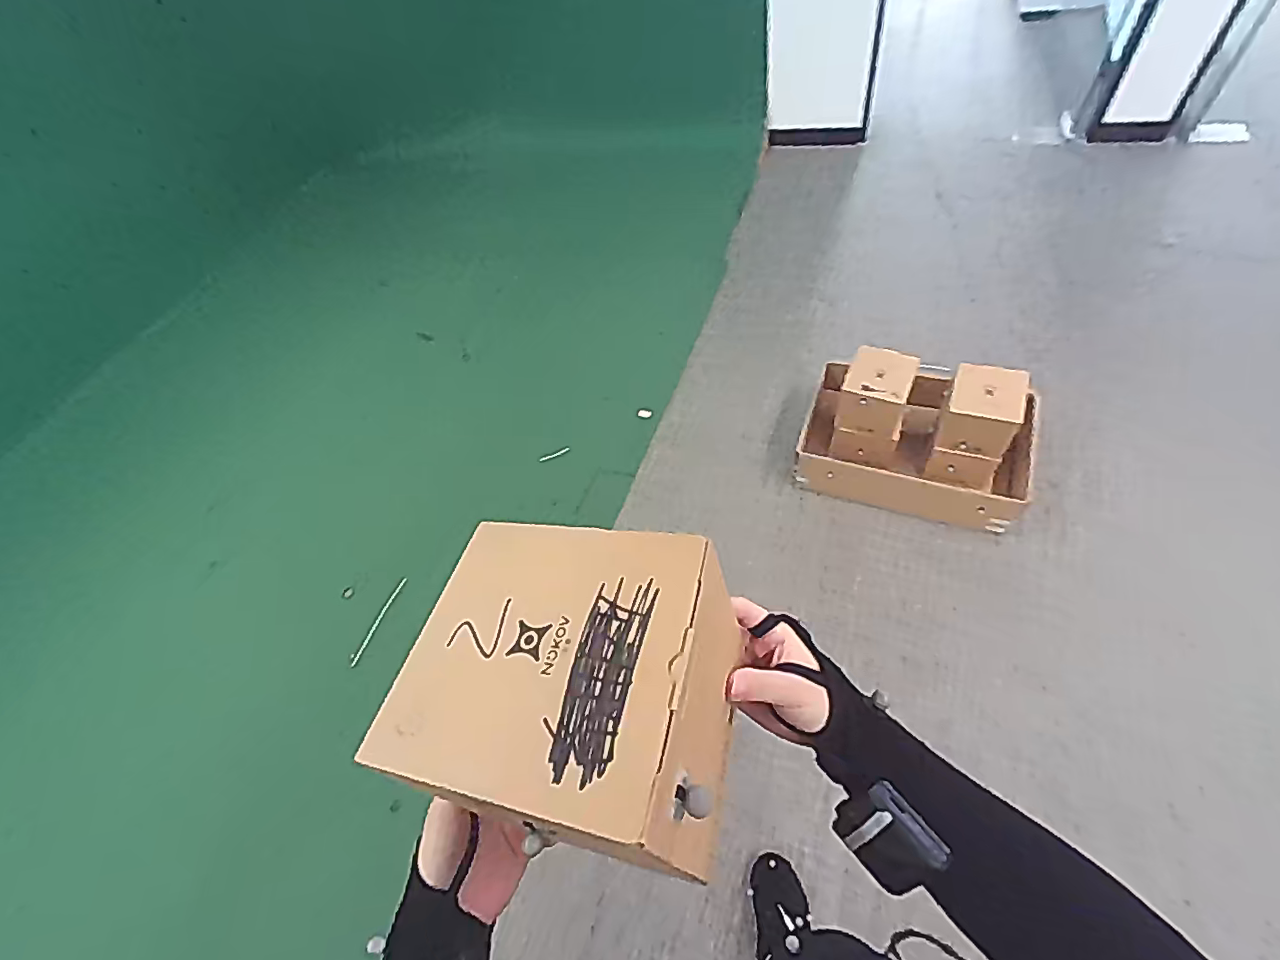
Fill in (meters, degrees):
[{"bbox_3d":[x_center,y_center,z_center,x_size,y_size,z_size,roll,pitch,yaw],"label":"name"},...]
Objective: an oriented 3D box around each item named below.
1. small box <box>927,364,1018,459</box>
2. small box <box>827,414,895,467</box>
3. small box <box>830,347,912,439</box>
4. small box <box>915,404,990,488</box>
[{"bbox_3d":[0.904,-0.187,1.481,0.168,0.176,0.179,15,63,22],"label":"small box"},{"bbox_3d":[0.696,-0.163,1.703,0.168,0.176,0.179,14,63,18],"label":"small box"},{"bbox_3d":[0.663,-0.250,1.567,0.168,0.176,0.179,20,64,22],"label":"small box"},{"bbox_3d":[0.935,-0.099,1.615,0.168,0.176,0.179,13,63,20],"label":"small box"}]
